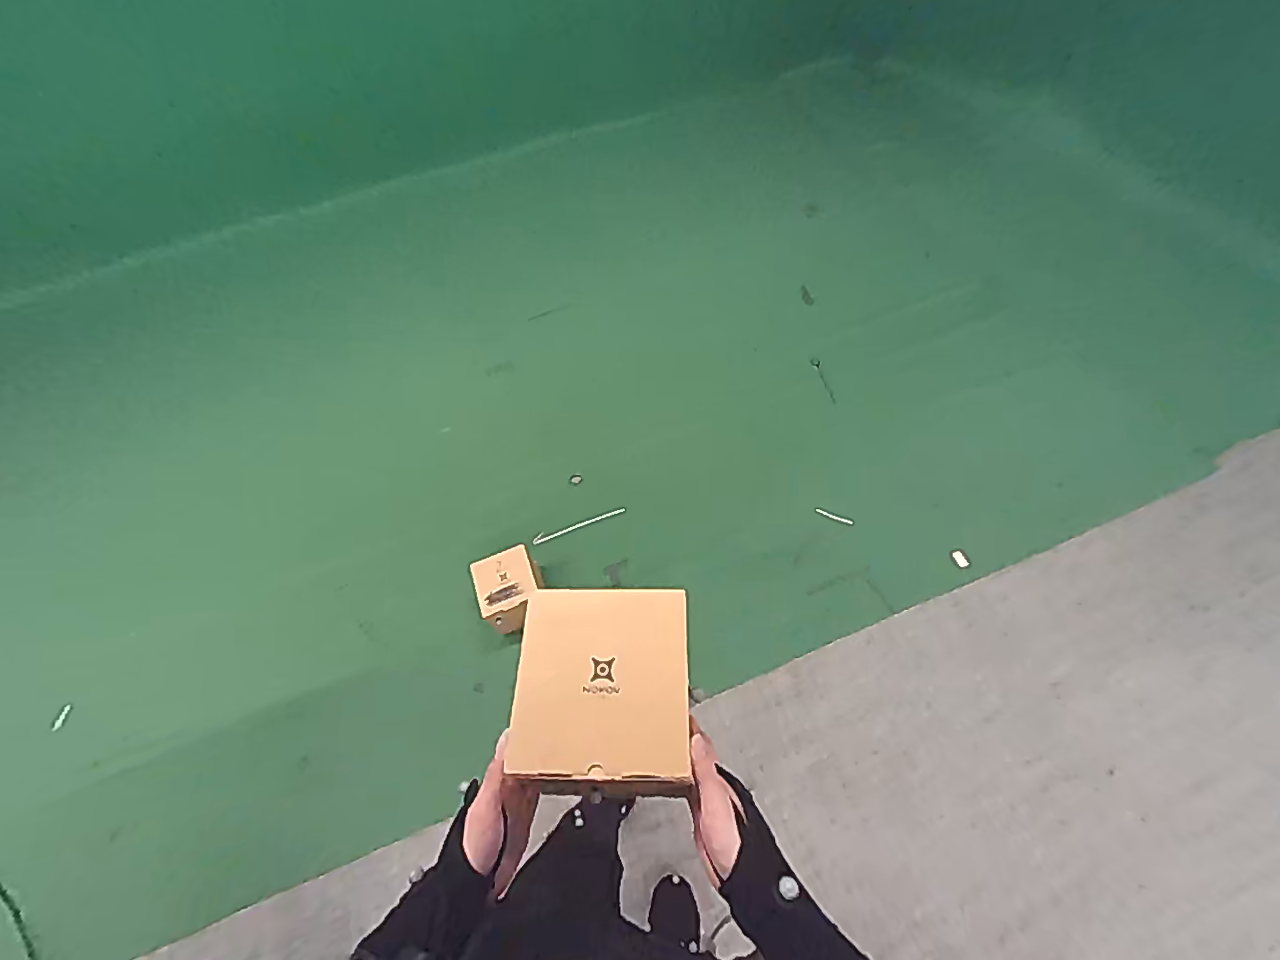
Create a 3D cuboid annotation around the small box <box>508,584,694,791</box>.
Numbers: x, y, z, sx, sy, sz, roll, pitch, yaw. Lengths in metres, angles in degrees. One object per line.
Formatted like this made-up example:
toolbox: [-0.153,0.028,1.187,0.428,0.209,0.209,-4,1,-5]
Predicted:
small box: [-0.030,0.225,0.578,0.168,0.176,0.179,0,57,3]
